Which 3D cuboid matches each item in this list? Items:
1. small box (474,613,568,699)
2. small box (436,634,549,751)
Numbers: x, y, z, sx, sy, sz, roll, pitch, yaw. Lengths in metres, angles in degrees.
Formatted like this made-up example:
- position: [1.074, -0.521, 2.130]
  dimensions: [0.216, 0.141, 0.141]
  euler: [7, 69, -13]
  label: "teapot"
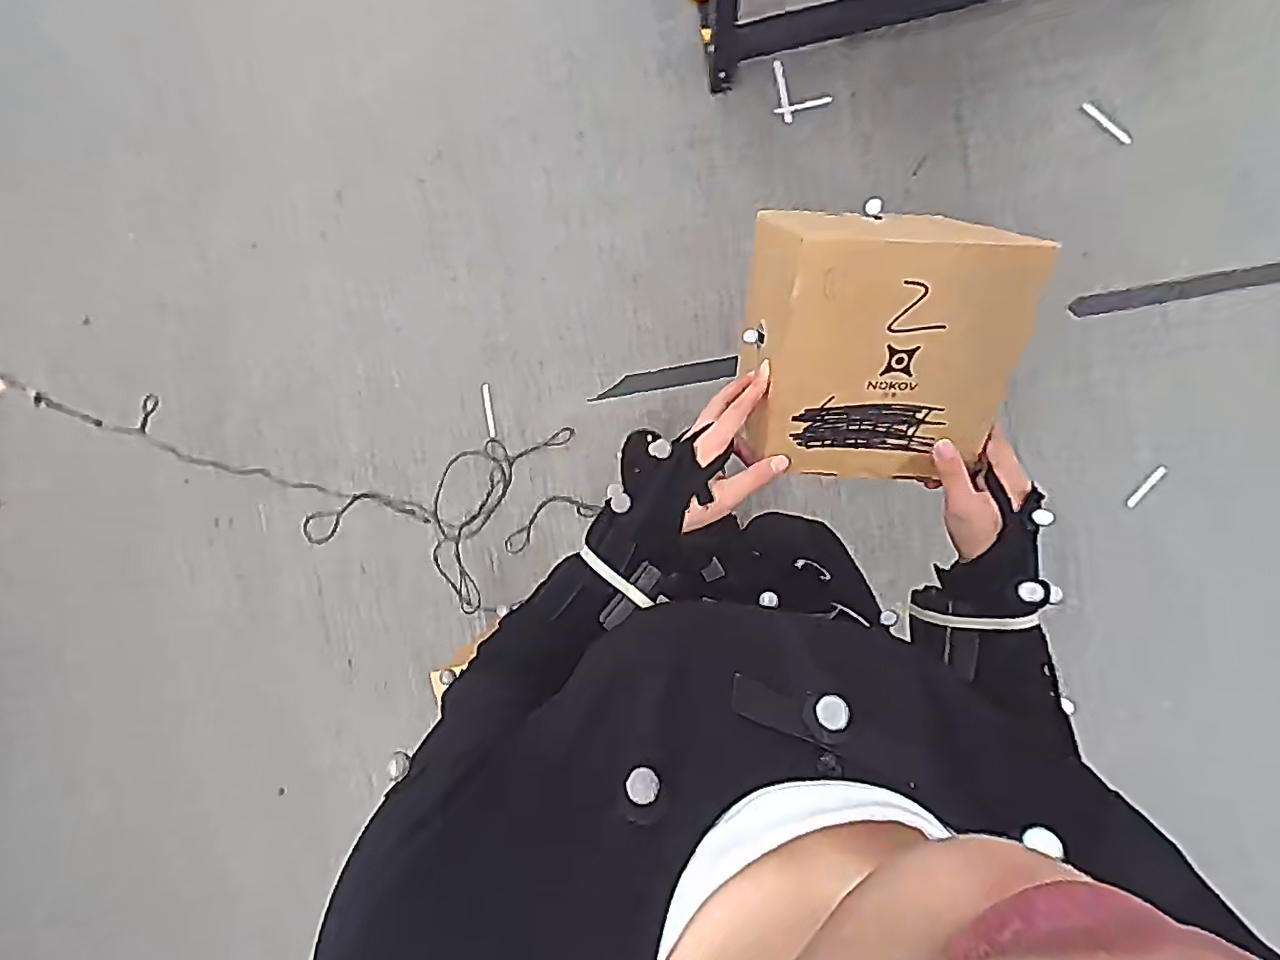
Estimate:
- position: [-0.296, 0.447, 1.338]
  dimensions: [0.179, 0.176, 0.168]
  euler: [-17, 91, 5]
  label: "small box"
- position: [-0.312, 0.449, 1.176]
  dimensions: [0.168, 0.176, 0.179]
  euler: [-15, 92, 5]
  label: "small box"
